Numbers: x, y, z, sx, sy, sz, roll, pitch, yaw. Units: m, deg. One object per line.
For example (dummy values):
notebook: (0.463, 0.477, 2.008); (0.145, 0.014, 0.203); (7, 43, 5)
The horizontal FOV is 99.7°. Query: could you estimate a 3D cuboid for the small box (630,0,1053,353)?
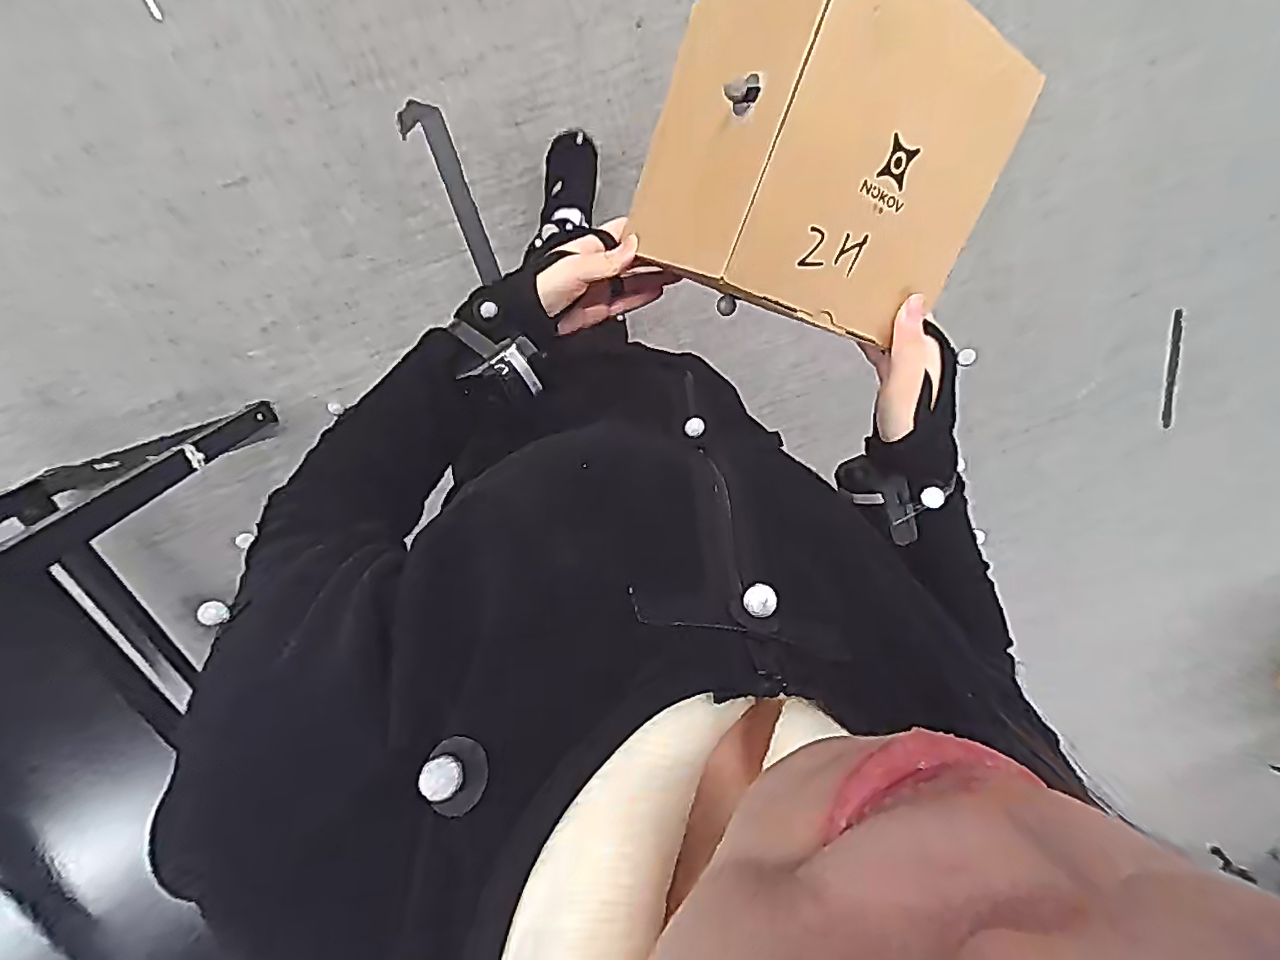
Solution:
small box: (0.112, -0.210, 0.366); (0.168, 0.176, 0.179); (10, 112, -29)
